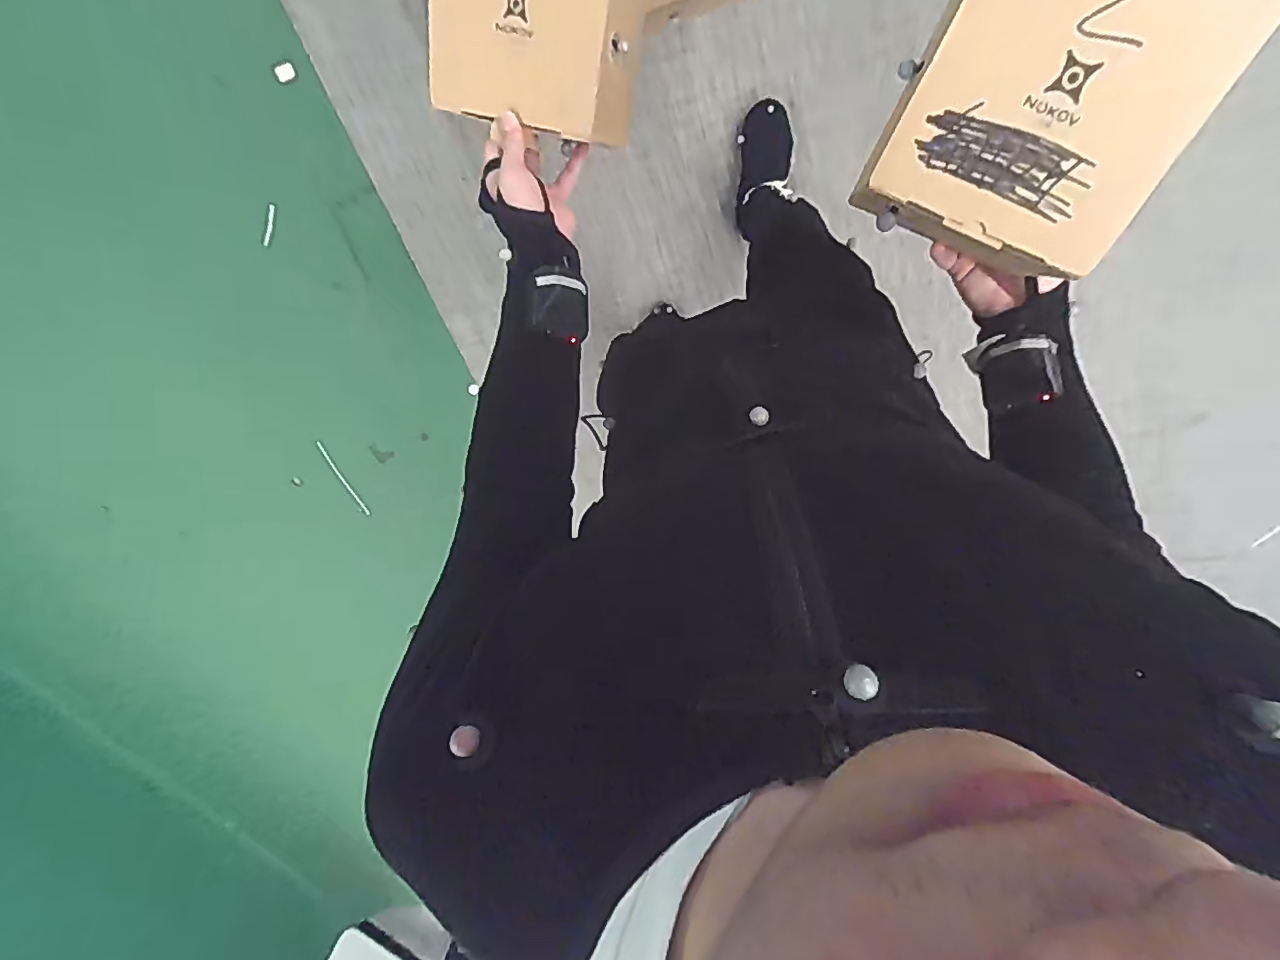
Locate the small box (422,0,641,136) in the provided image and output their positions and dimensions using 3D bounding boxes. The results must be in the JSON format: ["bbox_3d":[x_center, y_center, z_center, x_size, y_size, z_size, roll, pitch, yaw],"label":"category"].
[{"bbox_3d":[-0.099,-0.464,0.543,0.168,0.176,0.179,14,120,3],"label":"small box"}]
